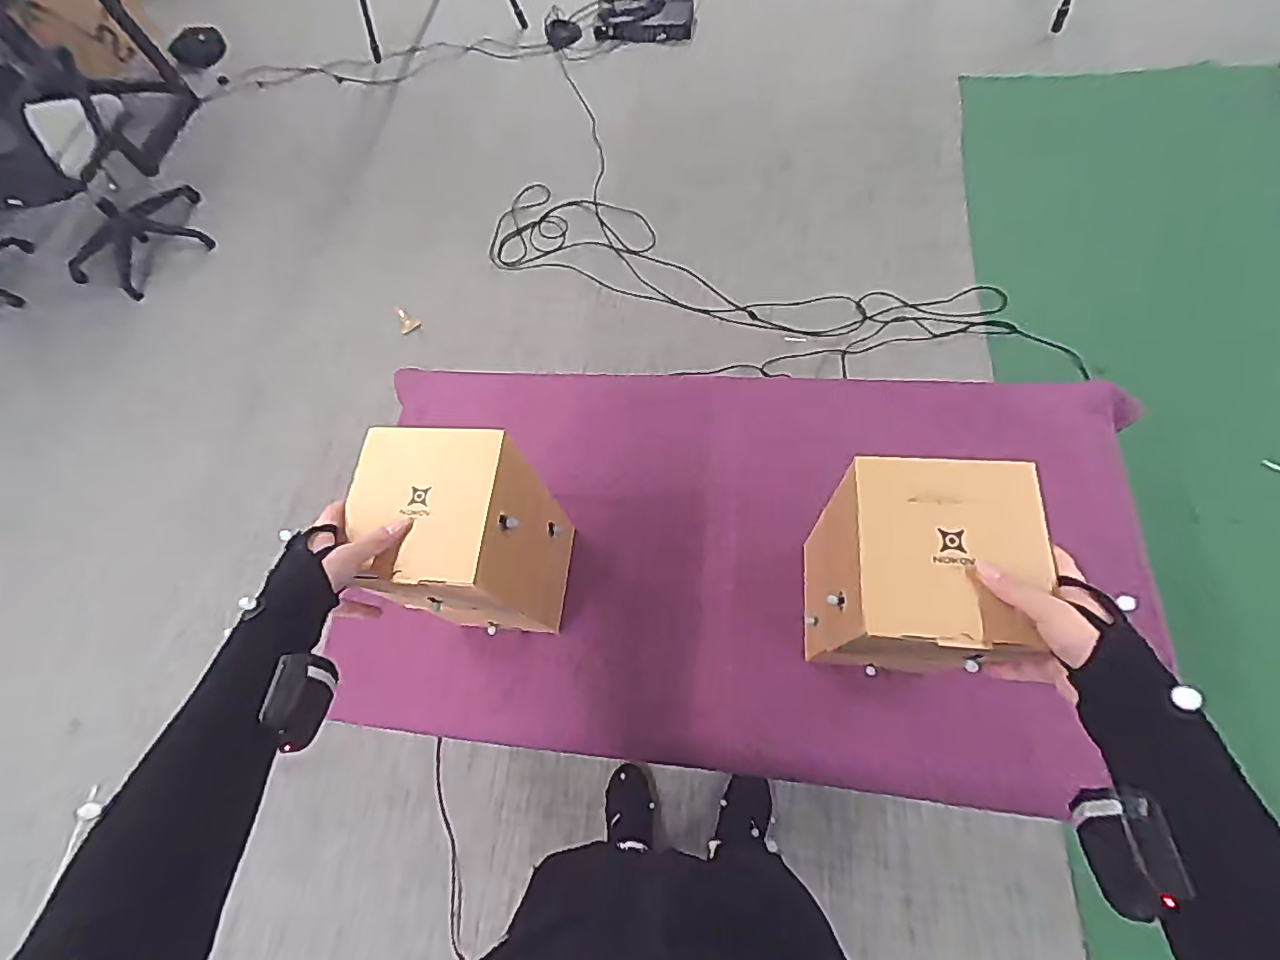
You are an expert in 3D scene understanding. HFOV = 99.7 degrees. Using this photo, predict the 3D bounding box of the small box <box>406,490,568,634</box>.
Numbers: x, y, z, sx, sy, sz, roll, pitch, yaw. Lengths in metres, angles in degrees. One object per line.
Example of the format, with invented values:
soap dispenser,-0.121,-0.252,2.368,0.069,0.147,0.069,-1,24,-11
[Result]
small box,-0.212,0.122,0.802,0.168,0.176,0.179,2,66,9

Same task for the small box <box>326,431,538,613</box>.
small box,-0.231,0.056,0.655,0.168,0.176,0.179,1,68,8

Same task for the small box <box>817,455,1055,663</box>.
small box,0.285,0.090,0.566,0.168,0.176,0.179,3,66,9
